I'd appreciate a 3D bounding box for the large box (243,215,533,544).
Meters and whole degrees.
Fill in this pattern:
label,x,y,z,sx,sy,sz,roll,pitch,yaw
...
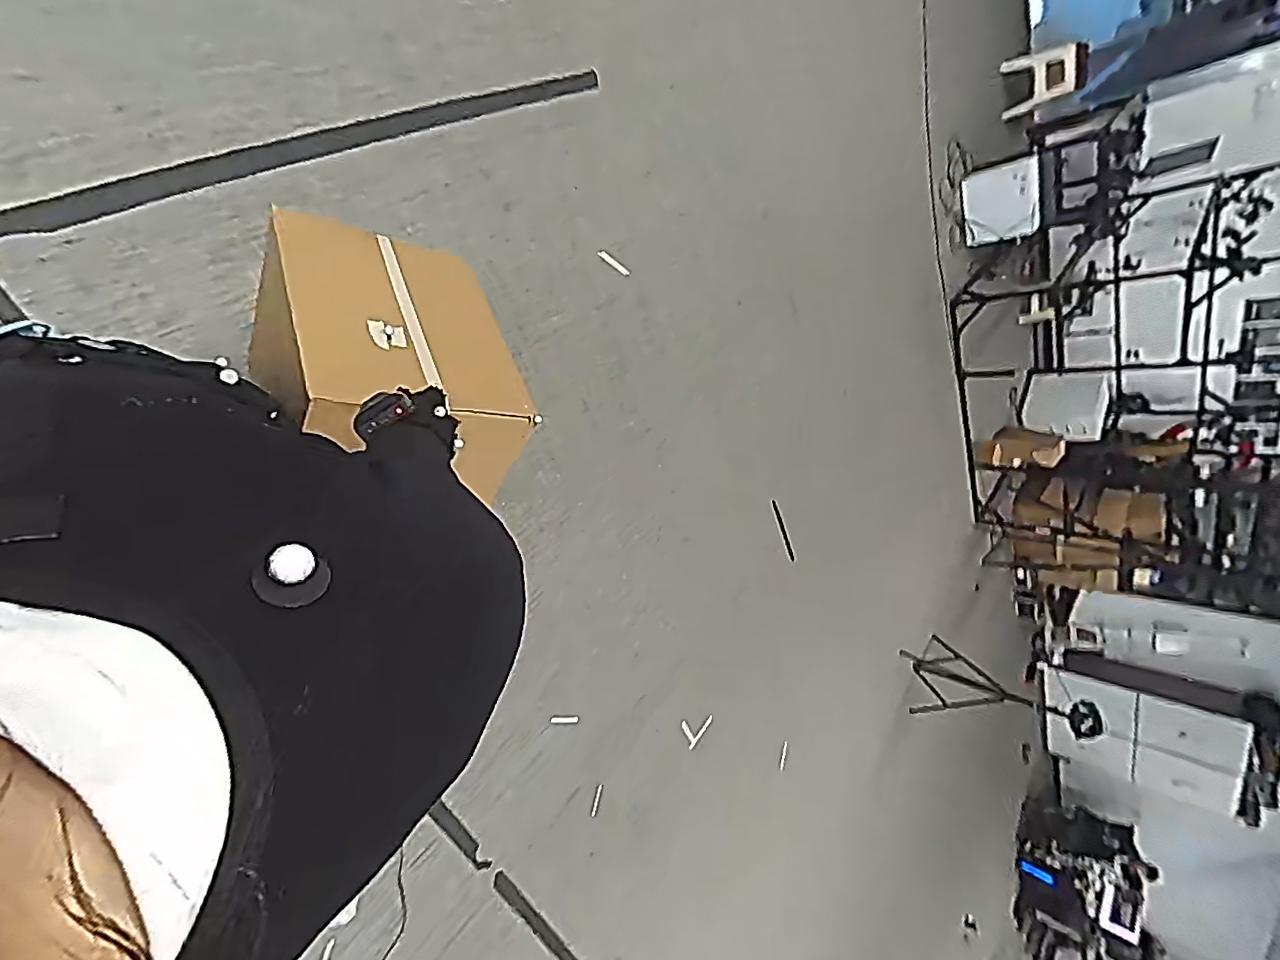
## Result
label,x,y,z,sx,sy,sz,roll,pitch,yaw
large box,-0.440,-0.148,0.908,0.320,0.320,0.408,0,53,-43
